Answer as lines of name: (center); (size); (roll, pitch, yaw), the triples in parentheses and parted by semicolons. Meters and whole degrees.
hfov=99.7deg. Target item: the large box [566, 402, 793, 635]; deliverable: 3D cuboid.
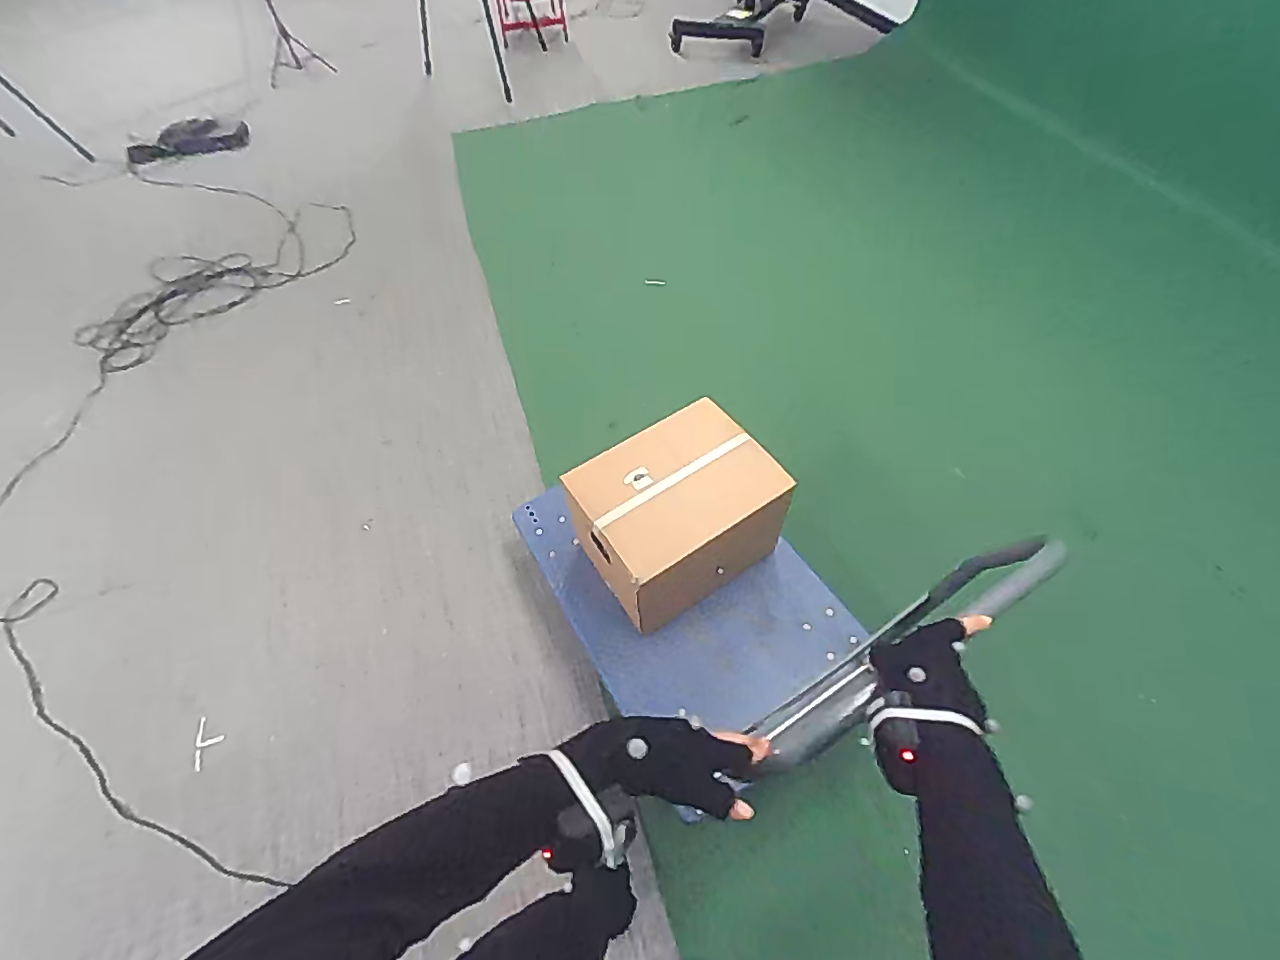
large box: (0.090, 0.093, 1.286); (0.408, 0.320, 0.320); (-31, 59, -16)
